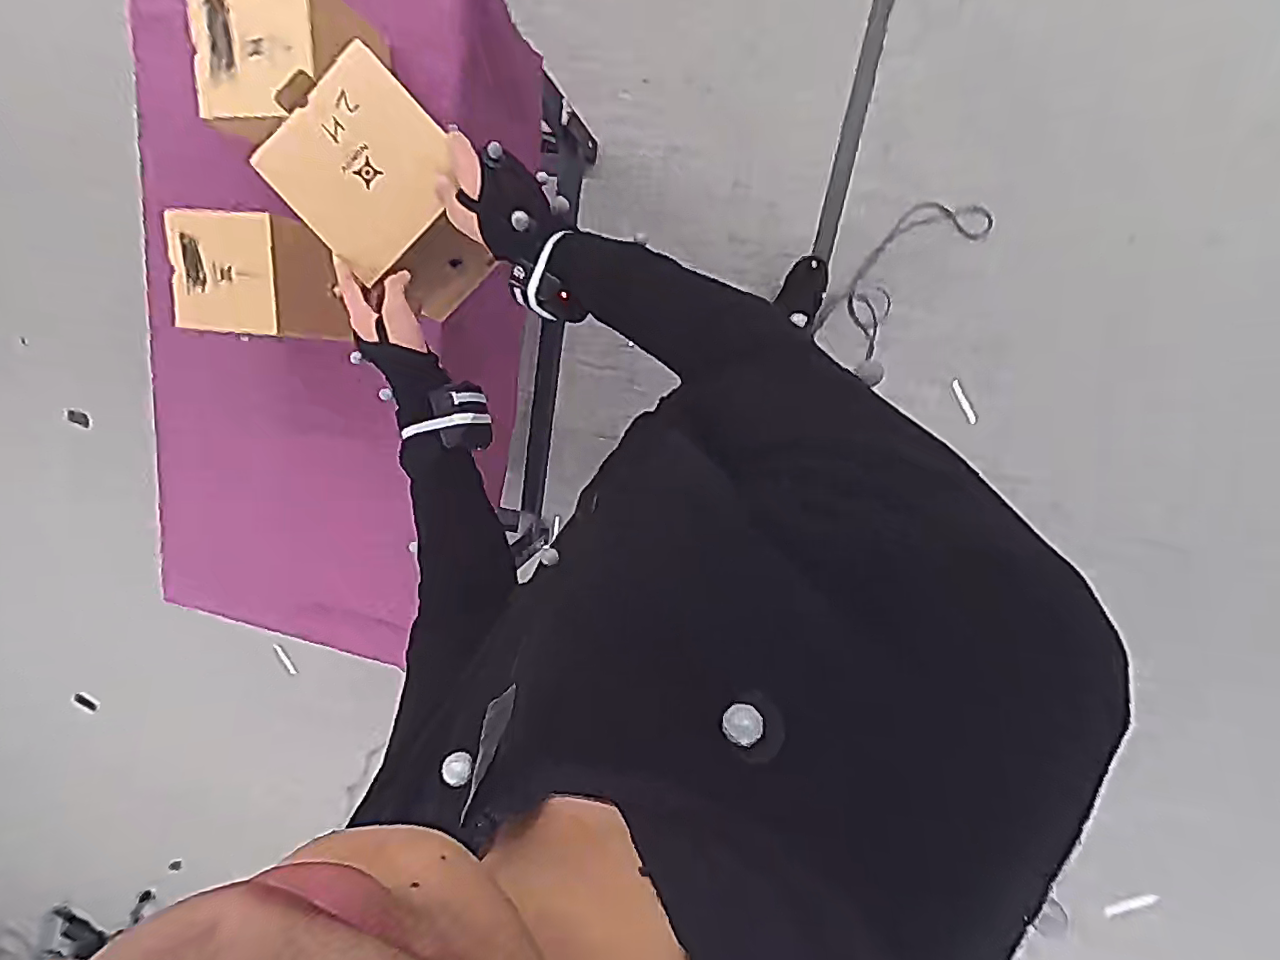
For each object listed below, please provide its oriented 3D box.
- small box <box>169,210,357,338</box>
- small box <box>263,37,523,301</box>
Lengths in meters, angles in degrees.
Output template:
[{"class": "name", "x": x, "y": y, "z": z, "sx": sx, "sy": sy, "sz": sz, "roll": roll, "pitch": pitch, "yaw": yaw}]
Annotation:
[{"class": "small box", "x": -0.584, "y": -0.317, "z": 0.858, "sx": 0.179, "sy": 0.176, "sz": 0.168, "roll": 6, "pitch": 103, "yaw": 10}, {"class": "small box", "x": -0.263, "y": -0.330, "z": 0.623, "sx": 0.168, "sy": 0.176, "sz": 0.179, "roll": -42, "pitch": 90, "yaw": 6}]
